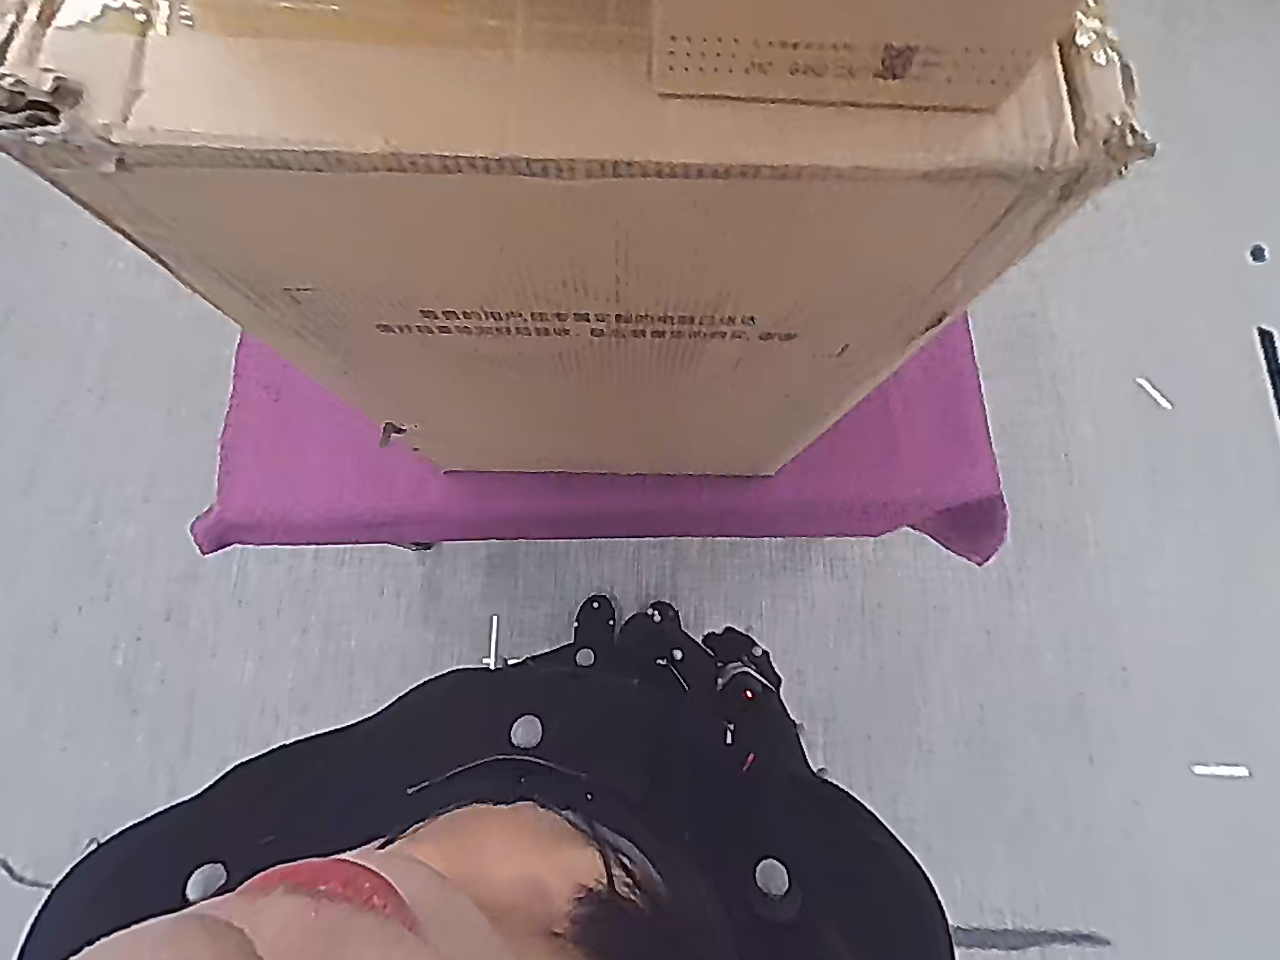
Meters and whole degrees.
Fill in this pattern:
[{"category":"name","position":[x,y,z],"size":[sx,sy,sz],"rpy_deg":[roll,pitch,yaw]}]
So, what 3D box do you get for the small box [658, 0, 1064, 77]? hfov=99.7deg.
[{"category":"small box","position":[0.092,-0.278,0.181],"size":[0.168,0.176,0.179],"rpy_deg":[2,77,-1]}]
